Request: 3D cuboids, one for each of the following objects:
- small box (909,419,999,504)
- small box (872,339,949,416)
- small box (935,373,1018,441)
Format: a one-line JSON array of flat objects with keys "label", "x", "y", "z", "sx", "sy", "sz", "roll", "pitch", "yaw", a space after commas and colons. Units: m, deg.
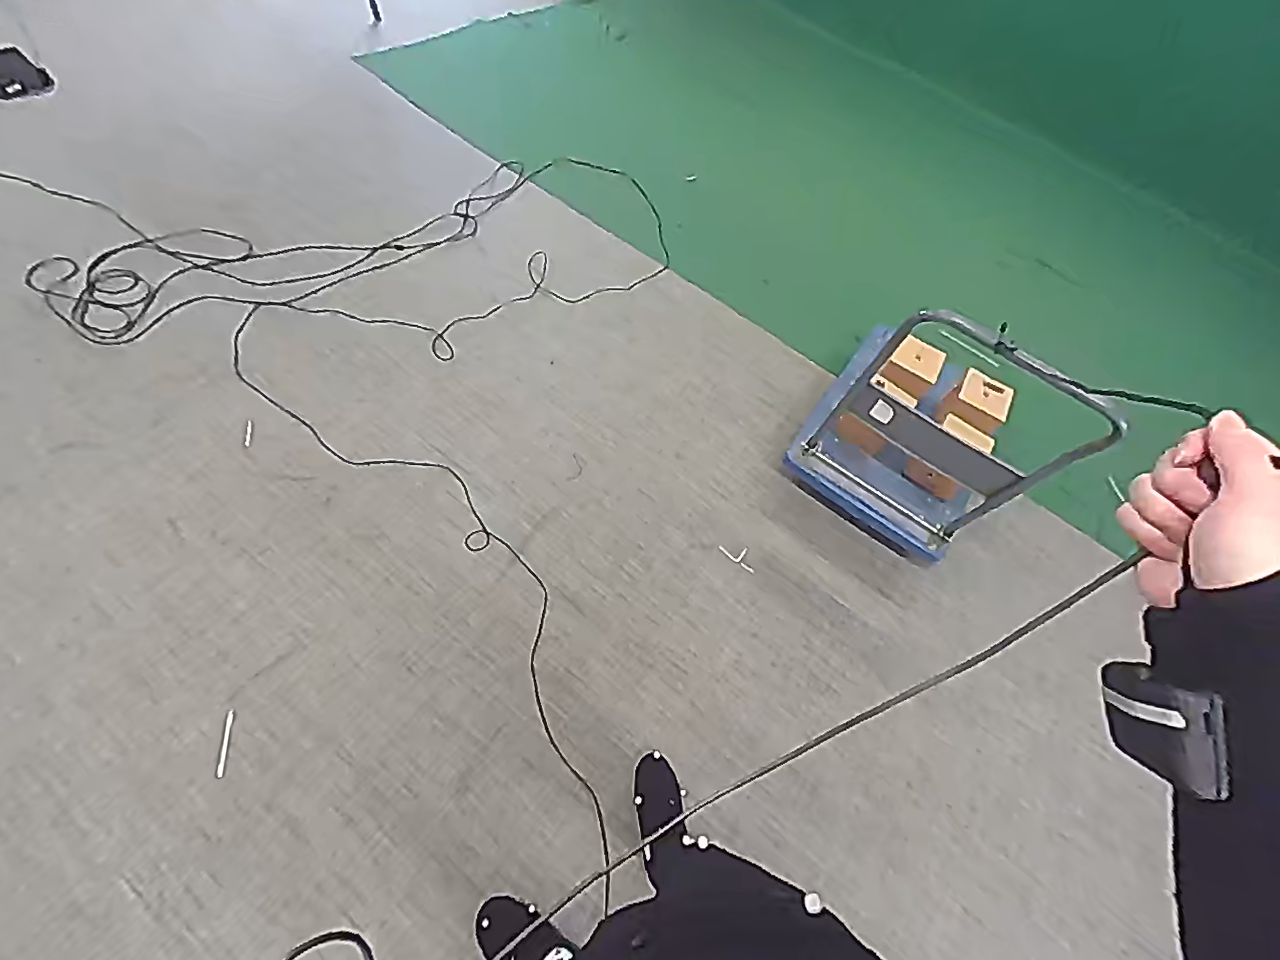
[{"label": "small box", "x": 1.010, "y": -0.056, "z": 1.749, "sx": 0.168, "sy": 0.176, "sz": 0.179, "roll": 36, "pitch": 60, "yaw": 12}, {"label": "small box", "x": 0.956, "y": -0.361, "z": 1.925, "sx": 0.168, "sy": 0.176, "sz": 0.179, "roll": 33, "pitch": 59, "yaw": 9}, {"label": "small box", "x": 1.167, "y": -0.230, "z": 1.884, "sx": 0.168, "sy": 0.176, "sz": 0.179, "roll": 32, "pitch": 60, "yaw": 10}]
